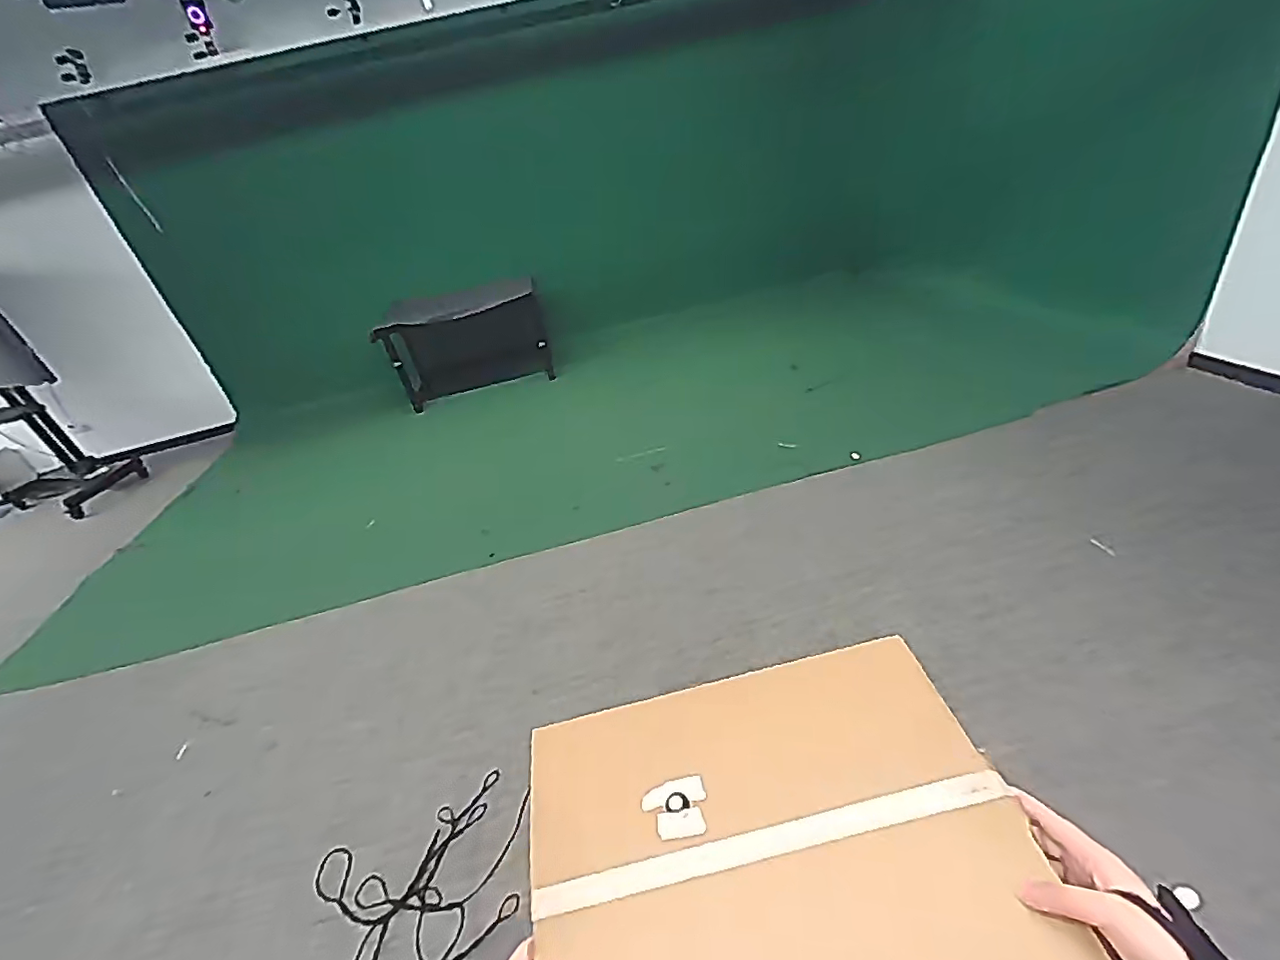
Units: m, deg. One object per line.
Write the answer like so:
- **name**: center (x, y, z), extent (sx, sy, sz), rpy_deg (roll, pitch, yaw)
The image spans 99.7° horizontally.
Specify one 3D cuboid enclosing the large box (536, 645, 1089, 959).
- **large box**: center (0.138, 0.432, 0.555), extent (0.408, 0.320, 0.320), rpy_deg (-16, 38, 1)
